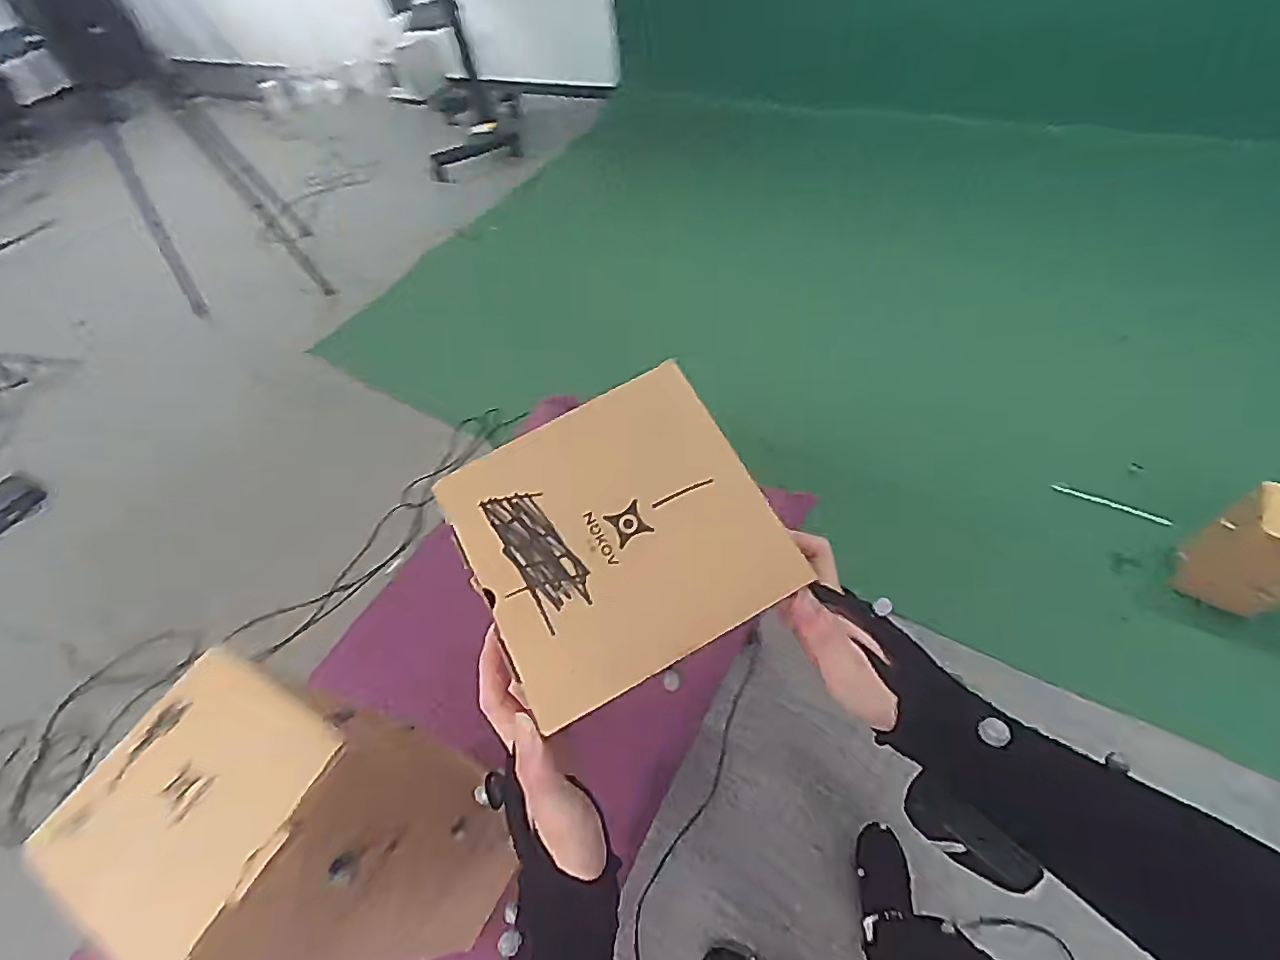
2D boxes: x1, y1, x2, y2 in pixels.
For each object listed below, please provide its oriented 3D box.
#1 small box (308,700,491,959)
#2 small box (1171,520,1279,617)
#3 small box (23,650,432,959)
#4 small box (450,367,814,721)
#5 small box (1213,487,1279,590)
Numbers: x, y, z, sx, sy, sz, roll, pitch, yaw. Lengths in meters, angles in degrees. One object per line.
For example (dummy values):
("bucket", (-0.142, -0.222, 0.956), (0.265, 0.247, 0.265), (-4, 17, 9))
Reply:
("small box", (-0.283, 0.374, 0.576), (0.168, 0.176, 0.179), (21, 60, 24))
("small box", (1.589, 0.244, 1.443), (0.179, 0.176, 0.168), (25, 62, 24))
("small box", (-0.312, 0.275, 0.450), (0.179, 0.176, 0.168), (20, 59, 23))
("small box", (-0.005, 0.056, 0.400), (0.179, 0.176, 0.168), (-27, 71, -6))
("small box", (1.565, 0.152, 1.312), (0.179, 0.176, 0.168), (23, 62, 25))
